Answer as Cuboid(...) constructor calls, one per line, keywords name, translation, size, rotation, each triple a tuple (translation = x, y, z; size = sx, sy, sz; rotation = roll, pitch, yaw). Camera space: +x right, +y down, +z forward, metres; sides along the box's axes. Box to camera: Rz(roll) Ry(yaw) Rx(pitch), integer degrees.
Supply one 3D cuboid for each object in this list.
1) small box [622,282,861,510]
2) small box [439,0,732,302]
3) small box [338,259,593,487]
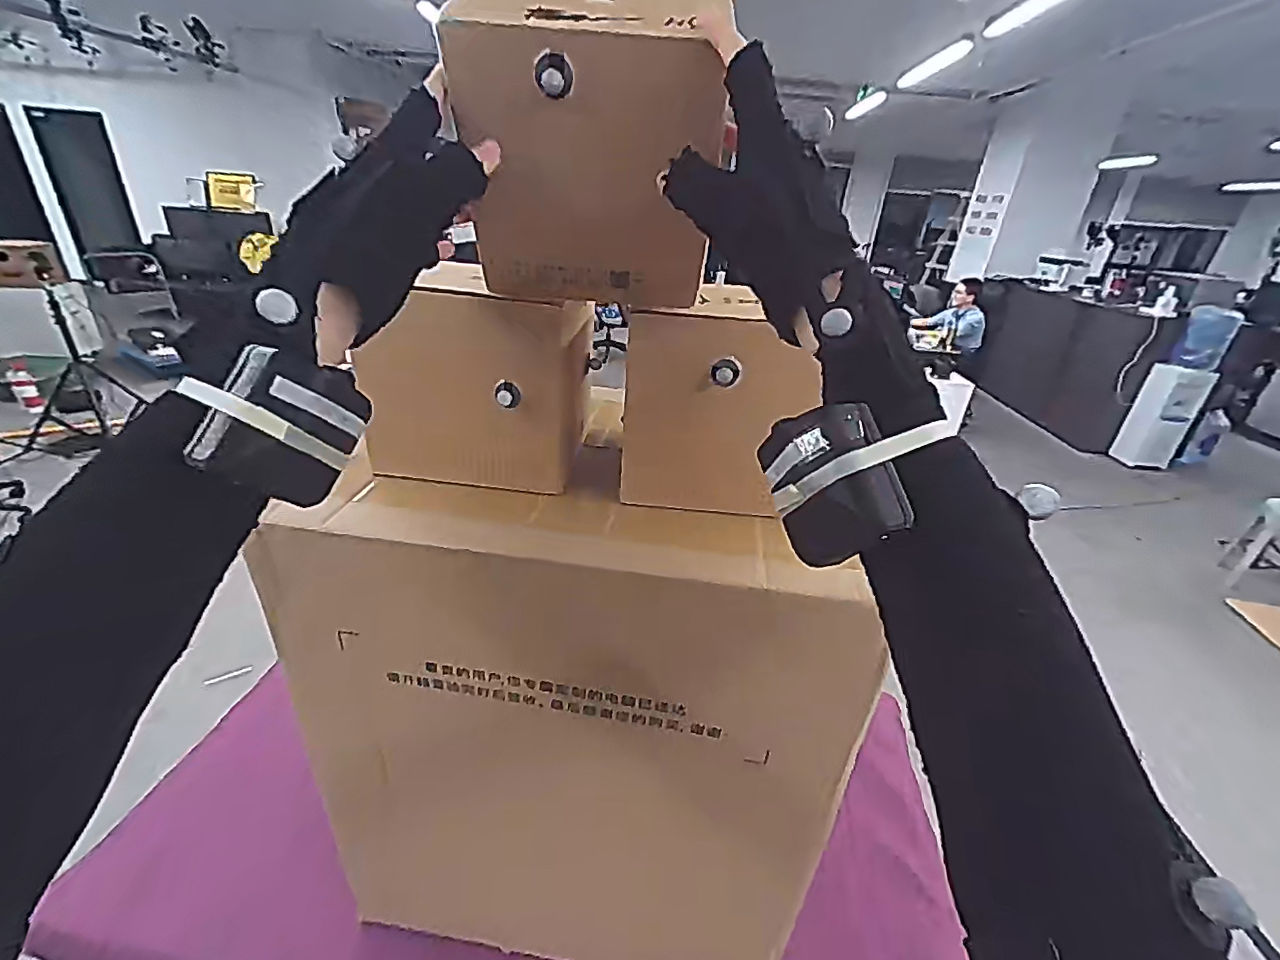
Cuboid(name="small box", translation=(0.078, -0.084, 0.503), size=(0.179, 0.176, 0.168), rotation=(5, 27, 2))
Cuboid(name="small box", translation=(-0.029, -0.256, 0.409), size=(0.168, 0.176, 0.179), rotation=(4, 49, 0))
Cuboid(name="small box", translation=(-0.144, -0.105, 0.513), size=(0.179, 0.176, 0.168), rotation=(6, 26, 2))
